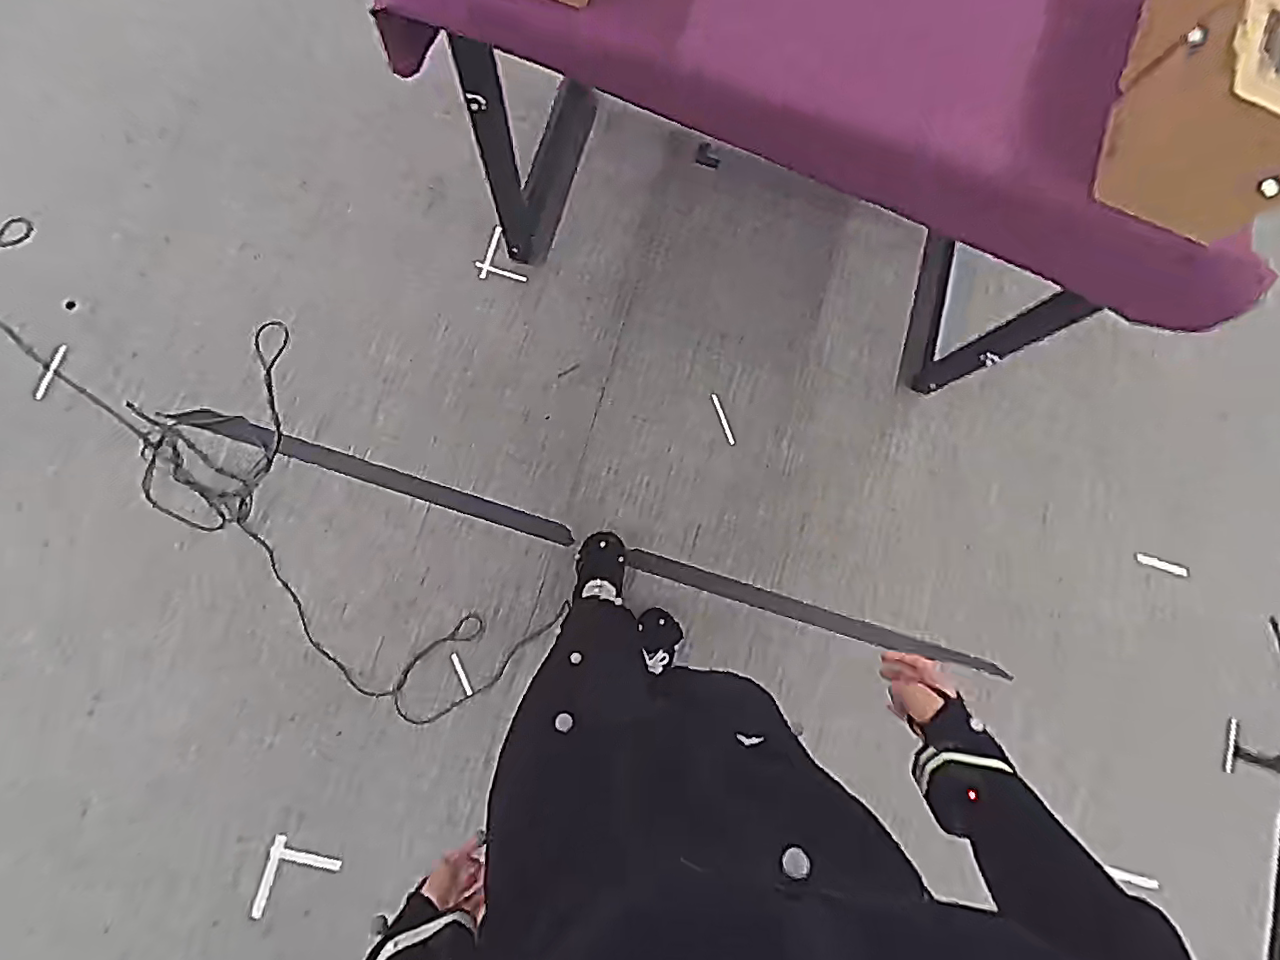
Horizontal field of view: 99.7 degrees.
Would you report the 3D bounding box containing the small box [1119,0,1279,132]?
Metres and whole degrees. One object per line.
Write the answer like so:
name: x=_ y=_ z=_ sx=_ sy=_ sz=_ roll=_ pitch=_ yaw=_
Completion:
small box: x=0.793 y=-0.612 z=0.714 sx=0.168 sy=0.176 sz=0.179 roll=22 pitch=80 yaw=-1
